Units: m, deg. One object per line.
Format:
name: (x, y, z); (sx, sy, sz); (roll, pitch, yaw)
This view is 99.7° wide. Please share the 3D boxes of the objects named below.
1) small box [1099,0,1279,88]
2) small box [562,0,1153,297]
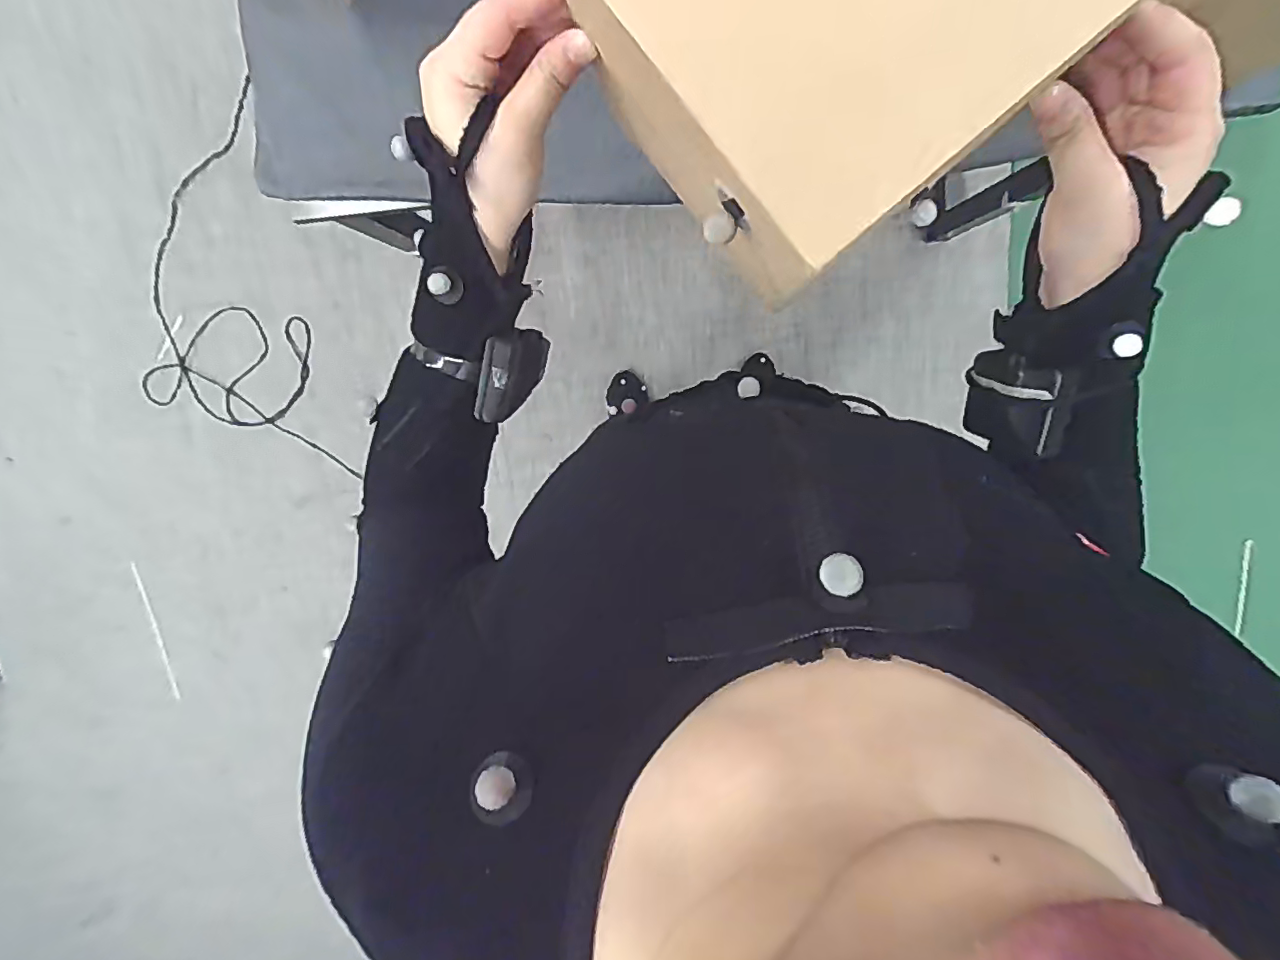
small box: (0.599, -0.524, 0.523); (0.168, 0.176, 0.179); (5, 99, 4)
small box: (0.084, -0.210, 0.264); (0.168, 0.176, 0.179); (-39, 93, 14)
